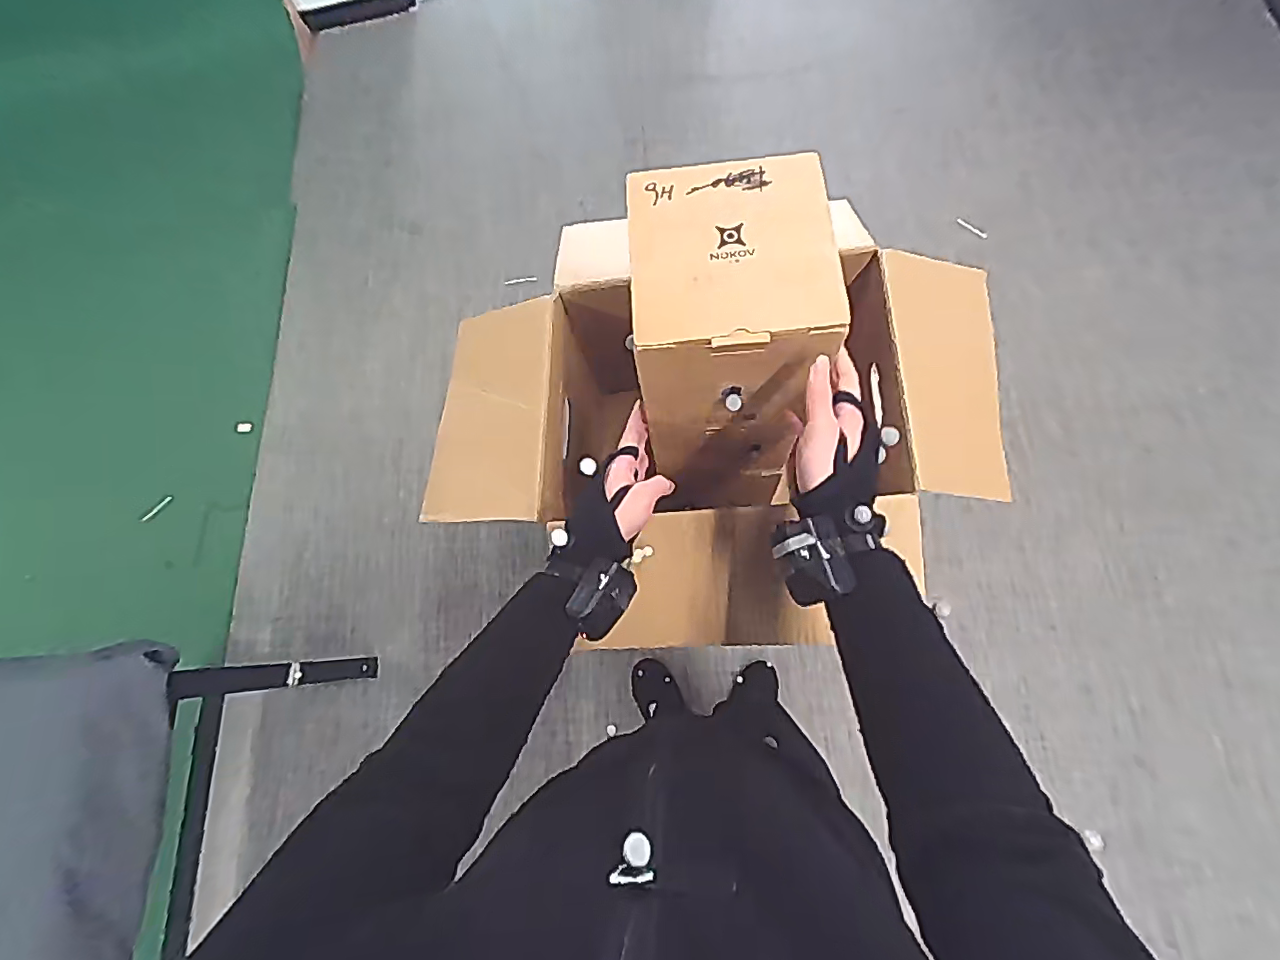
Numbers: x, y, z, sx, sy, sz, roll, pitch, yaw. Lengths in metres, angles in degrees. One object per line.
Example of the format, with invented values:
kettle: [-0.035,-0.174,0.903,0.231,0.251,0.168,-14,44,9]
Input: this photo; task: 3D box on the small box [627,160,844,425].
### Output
small box: [0.080,-0.160,0.515,0.168,0.176,0.179,-4,73,4]
